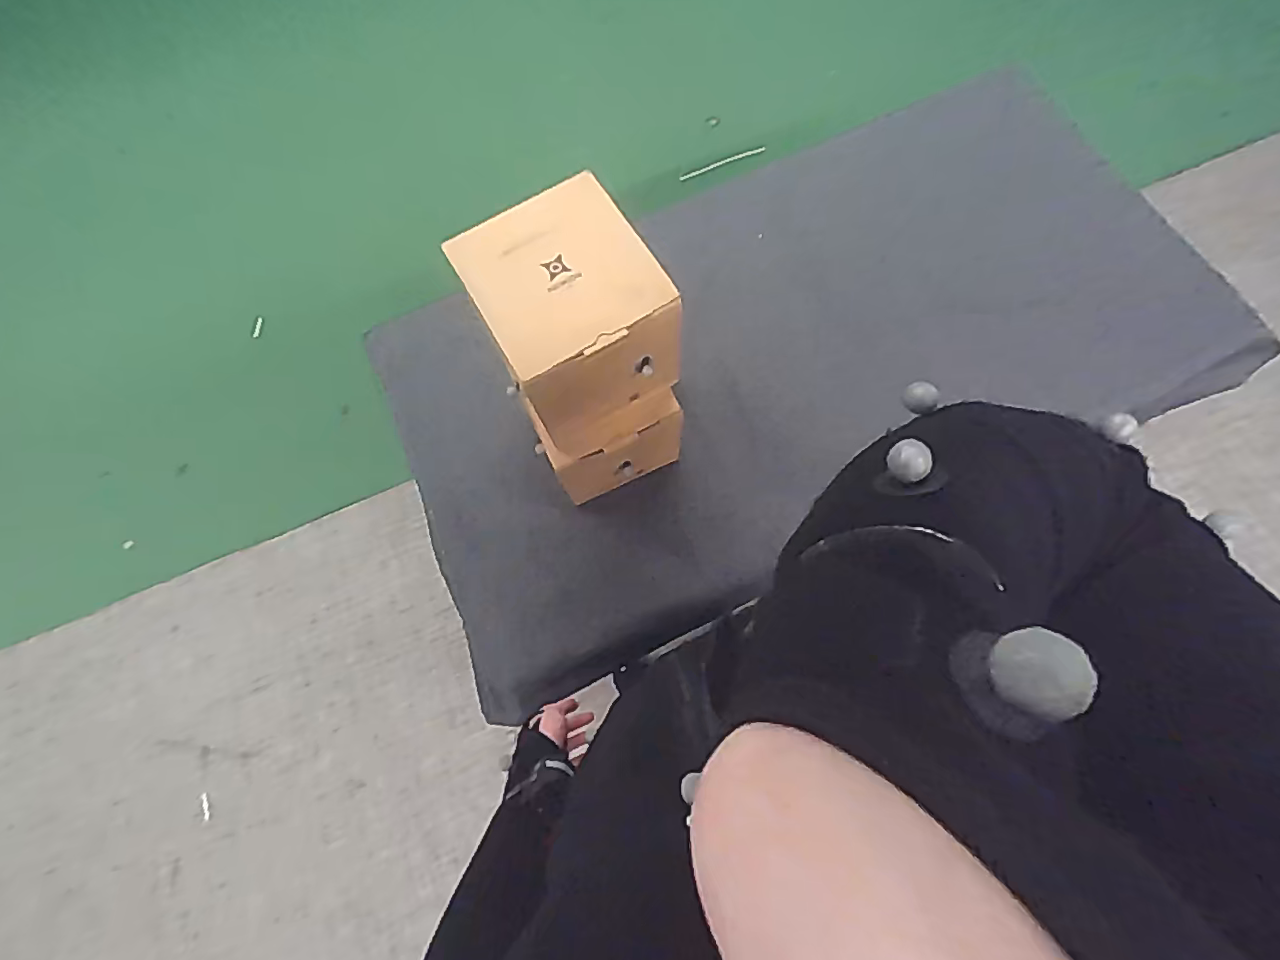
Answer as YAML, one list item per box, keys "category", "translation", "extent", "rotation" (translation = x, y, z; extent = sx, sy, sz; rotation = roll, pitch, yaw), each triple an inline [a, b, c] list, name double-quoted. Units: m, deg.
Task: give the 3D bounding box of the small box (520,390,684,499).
- category: "small box"
  translation: [-0.052, -0.088, 0.722]
  extent: [0.168, 0.176, 0.179]
  rotation: [-25, 74, -6]

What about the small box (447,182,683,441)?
- category: "small box"
  translation: [-0.067, -0.161, 0.575]
  extent: [0.168, 0.176, 0.179]
  rotation: [-31, 73, -8]
